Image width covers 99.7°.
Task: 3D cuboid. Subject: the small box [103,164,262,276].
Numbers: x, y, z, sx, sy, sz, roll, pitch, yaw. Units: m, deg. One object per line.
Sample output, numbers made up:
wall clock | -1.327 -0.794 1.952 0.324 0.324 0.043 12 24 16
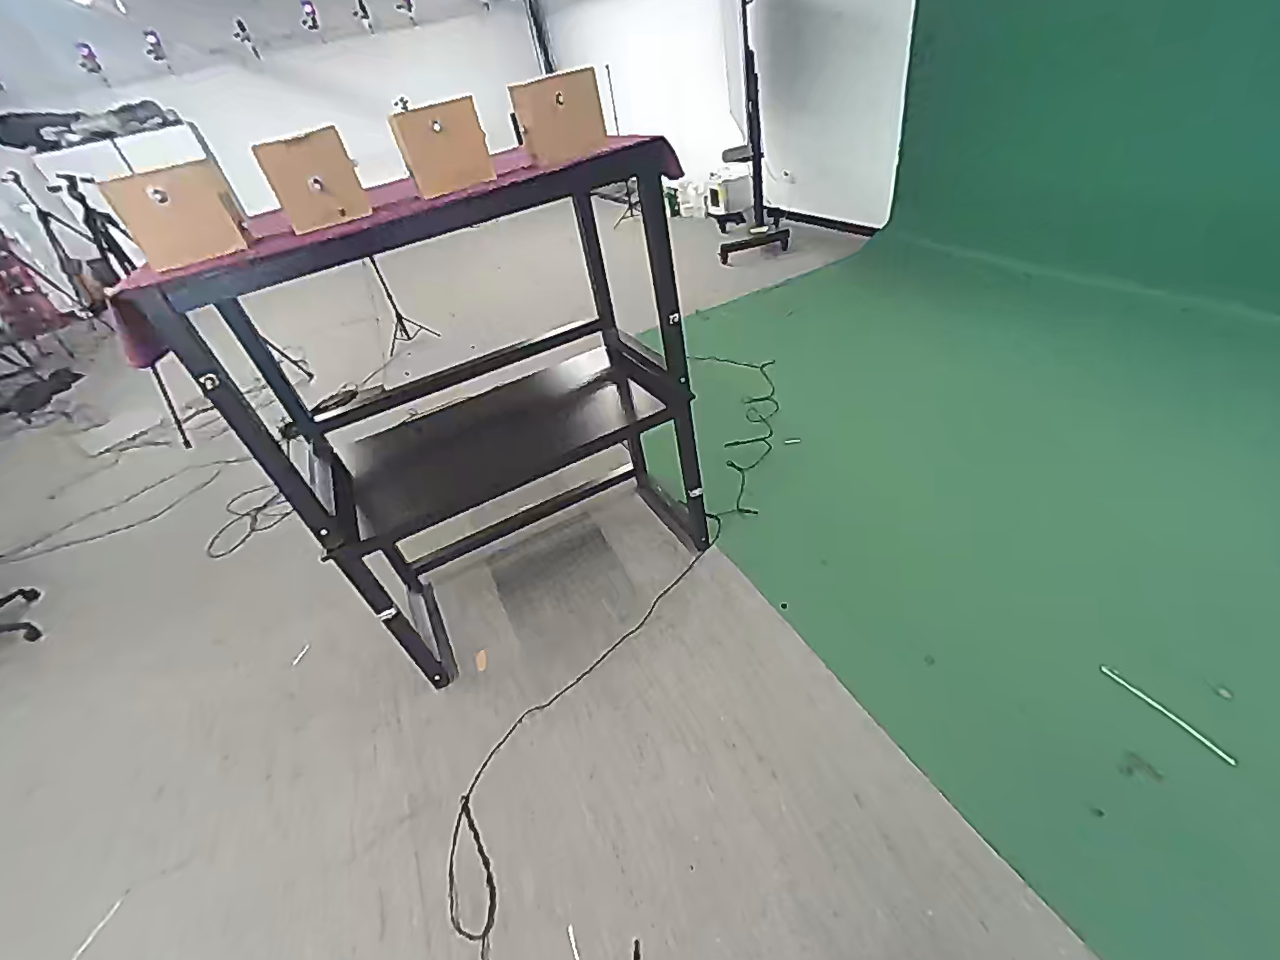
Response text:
small box | -0.926 -0.536 1.114 0.179 0.176 0.168 -24 39 -16

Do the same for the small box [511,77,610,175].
small box | -0.193 -0.866 1.327 0.179 0.176 0.168 -22 40 -12

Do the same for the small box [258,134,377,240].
small box | -0.697 -0.641 1.184 0.168 0.176 0.179 -24 39 -16

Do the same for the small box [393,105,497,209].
small box | -0.448 -0.752 1.259 0.179 0.176 0.168 -25 38 -14
